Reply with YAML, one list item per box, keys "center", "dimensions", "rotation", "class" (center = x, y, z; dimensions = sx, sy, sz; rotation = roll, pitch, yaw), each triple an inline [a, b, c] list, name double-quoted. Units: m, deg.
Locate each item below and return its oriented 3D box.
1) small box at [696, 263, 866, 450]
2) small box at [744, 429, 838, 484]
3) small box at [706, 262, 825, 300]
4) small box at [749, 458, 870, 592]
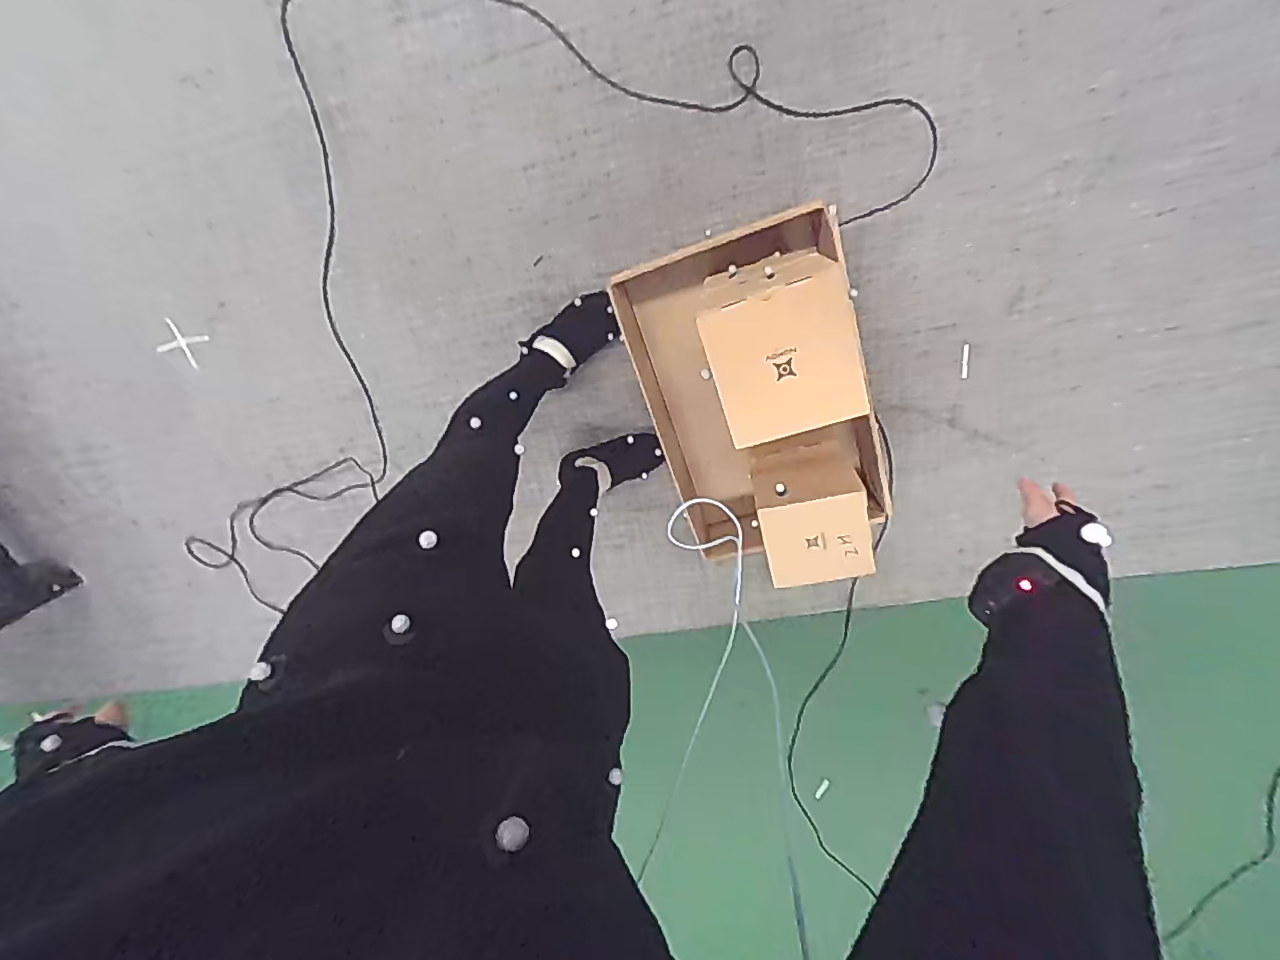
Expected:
- center: [0.178, -0.164, 0.699]
  dimensions: [0.168, 0.176, 0.179]
  rotation: [-15, 112, 15]
  class: "small box"
- center: [0.312, -0.007, 1.117]
  dimensions: [0.168, 0.176, 0.179]
  rotation: [-11, 112, 12]
  class: "small box"
- center: [0.198, -0.233, 0.844]
  dimensions: [0.168, 0.176, 0.179]
  rotation: [-10, 114, 13]
  class: "small box"
- center: [0.297, 0.076, 0.975]
  dimensions: [0.179, 0.176, 0.168]
  rotation: [-11, 114, 11]
  class: "small box"
